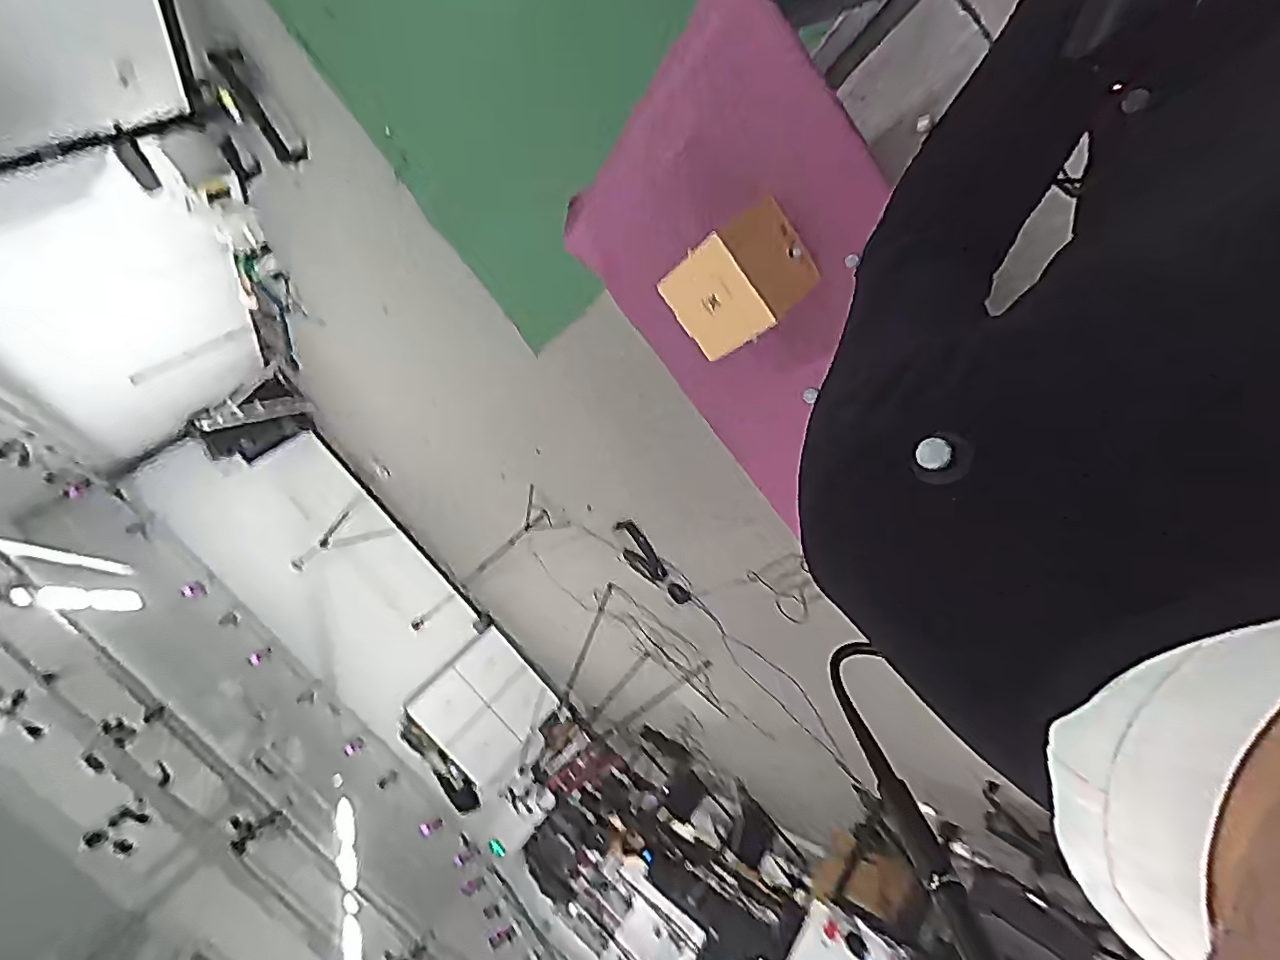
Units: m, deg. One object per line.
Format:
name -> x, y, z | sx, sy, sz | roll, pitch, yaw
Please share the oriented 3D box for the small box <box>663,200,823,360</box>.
small box -> 0.180, -0.343, 0.939 | 0.168, 0.176, 0.179 | 51, 151, -11
